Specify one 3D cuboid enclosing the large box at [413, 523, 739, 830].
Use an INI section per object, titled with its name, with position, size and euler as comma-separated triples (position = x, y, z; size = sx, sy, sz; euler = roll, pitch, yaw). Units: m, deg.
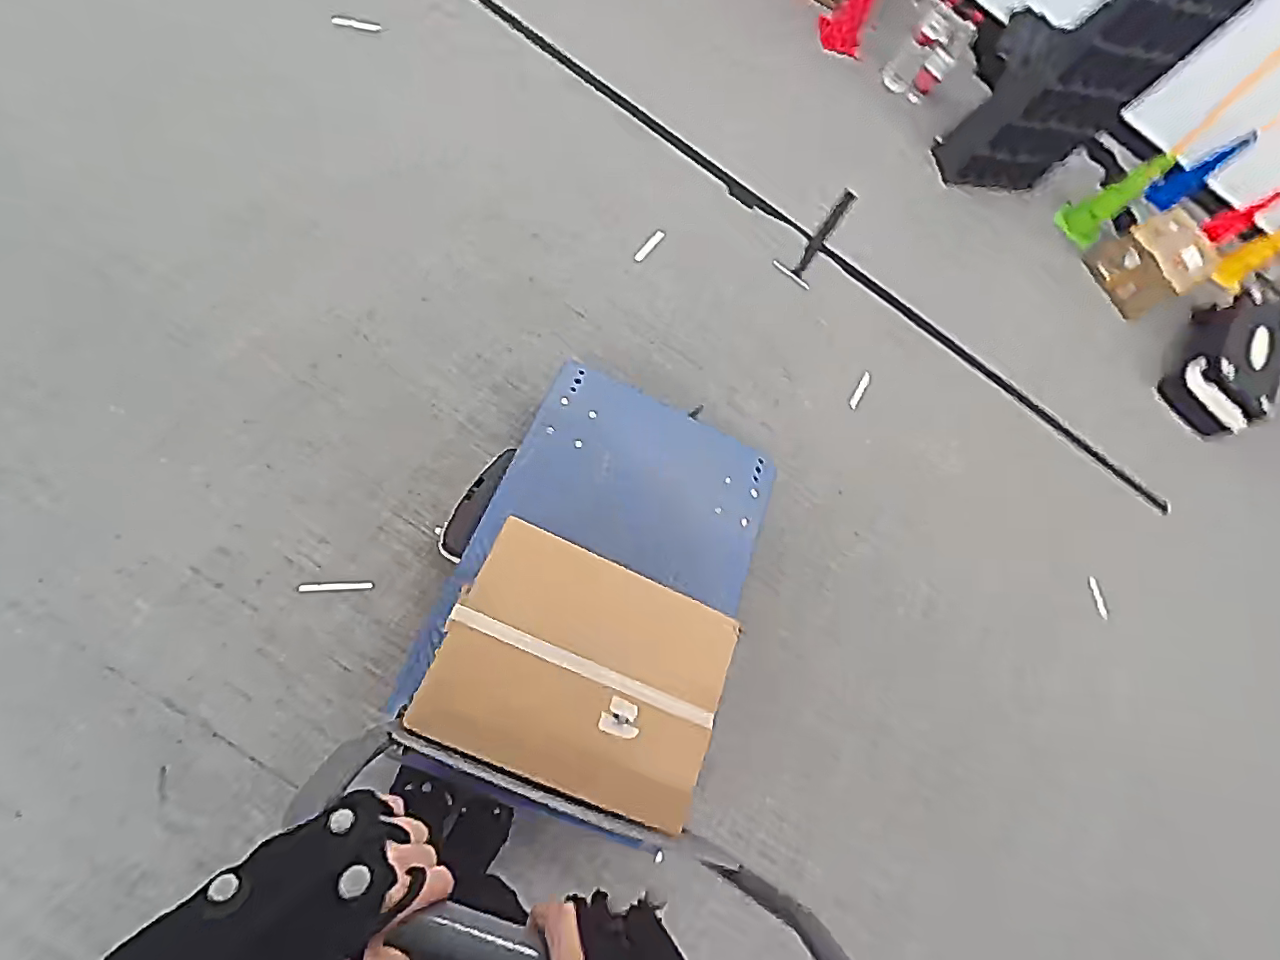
[large box]
position = -0.112, 0.320, 0.914
size = 0.408, 0.320, 0.320
euler = 27, 66, -8
